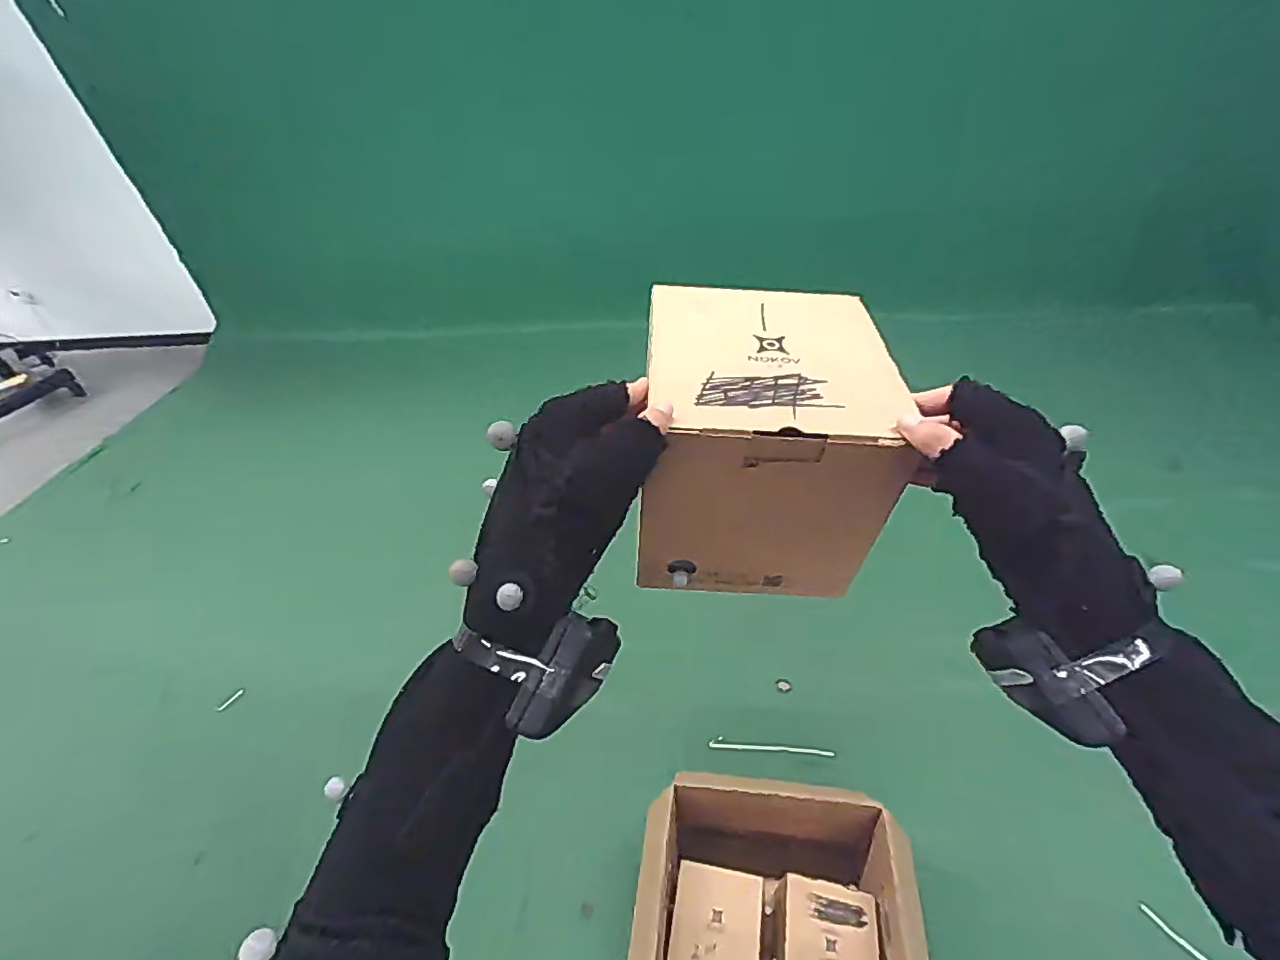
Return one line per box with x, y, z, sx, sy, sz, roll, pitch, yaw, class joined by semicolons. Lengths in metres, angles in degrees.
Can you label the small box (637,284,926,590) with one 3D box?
0.084;-0.031;0.421;0.168;0.176;0.179;3;46;0;small box
